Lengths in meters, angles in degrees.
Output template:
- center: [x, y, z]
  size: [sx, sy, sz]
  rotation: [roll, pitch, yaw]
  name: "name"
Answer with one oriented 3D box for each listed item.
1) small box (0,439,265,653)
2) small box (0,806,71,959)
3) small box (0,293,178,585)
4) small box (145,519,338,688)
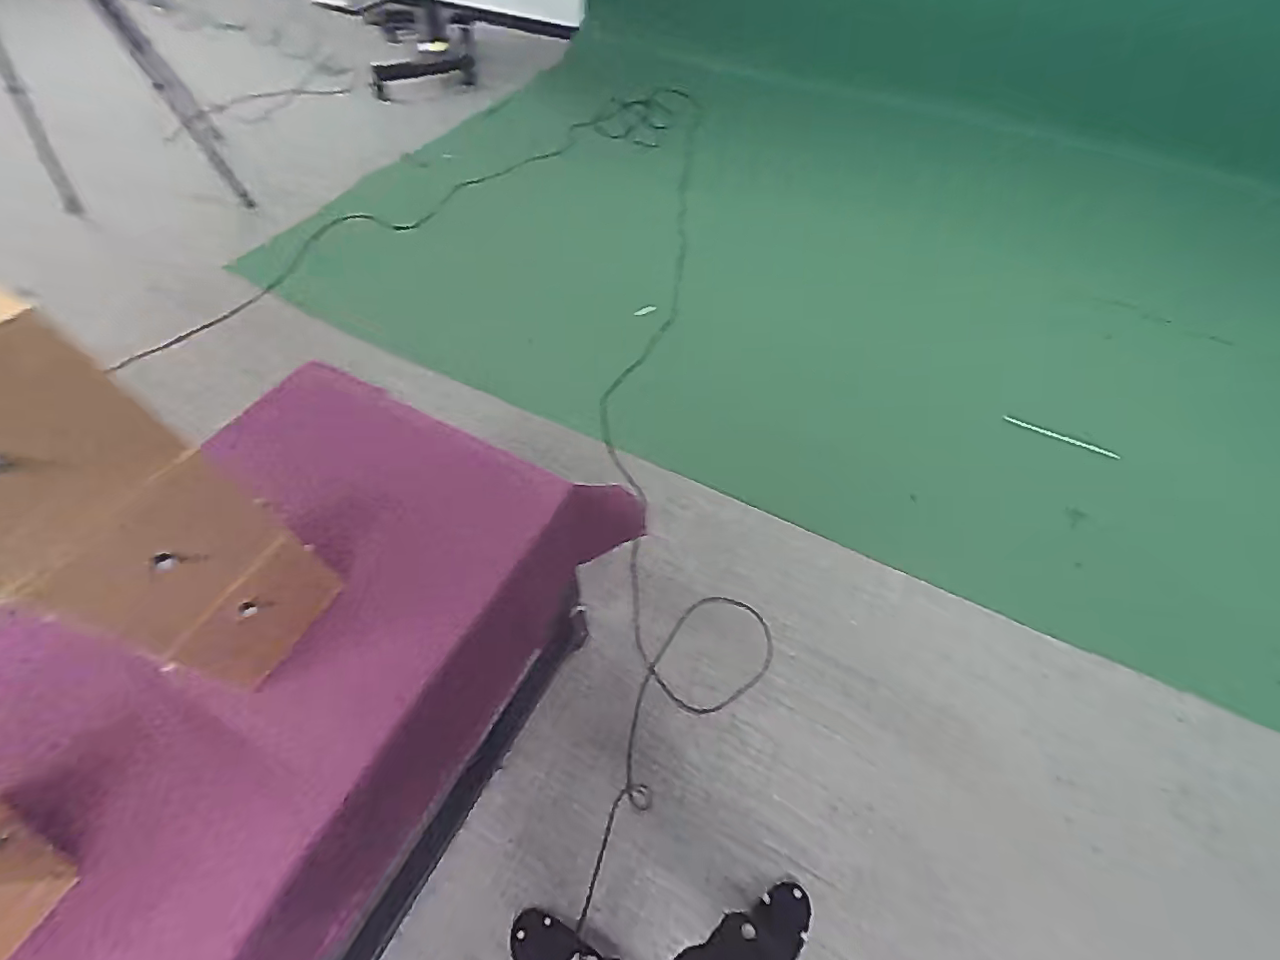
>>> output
- center: [-0.540, 0.049, 0.564]
  size: [0.168, 0.176, 0.179]
  rotation: [24, 60, 14]
  name: "small box"
- center: [-0.727, 0.425, 0.507]
  size: [0.168, 0.176, 0.179]
  rotation: [22, 58, 14]
  name: "small box"
- center: [-0.541, -0.043, 0.428]
  size: [0.168, 0.176, 0.179]
  rotation: [23, 60, 13]
  name: "small box"
- center: [-0.540, 0.141, 0.700]
  size: [0.168, 0.176, 0.179]
  rotation: [25, 59, 14]
  name: "small box"
